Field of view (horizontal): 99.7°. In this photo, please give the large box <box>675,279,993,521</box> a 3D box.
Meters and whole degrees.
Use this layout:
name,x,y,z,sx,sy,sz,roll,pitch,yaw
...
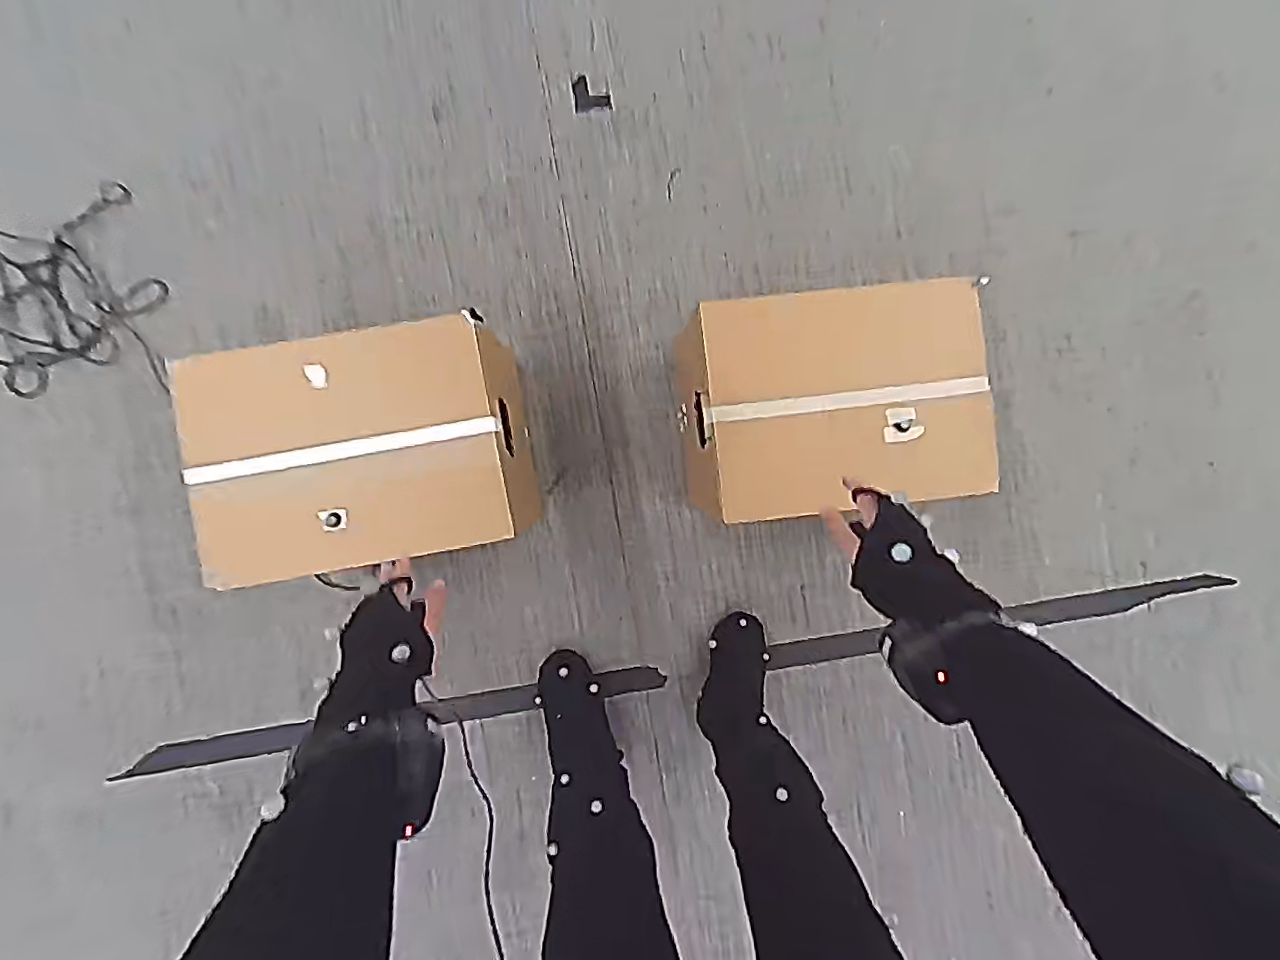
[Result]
name,x,y,z,sx,sy,sz,roll,pitch,yaw
large box,0.290,-0.116,0.920,0.408,0.320,0.320,-6,91,-4
